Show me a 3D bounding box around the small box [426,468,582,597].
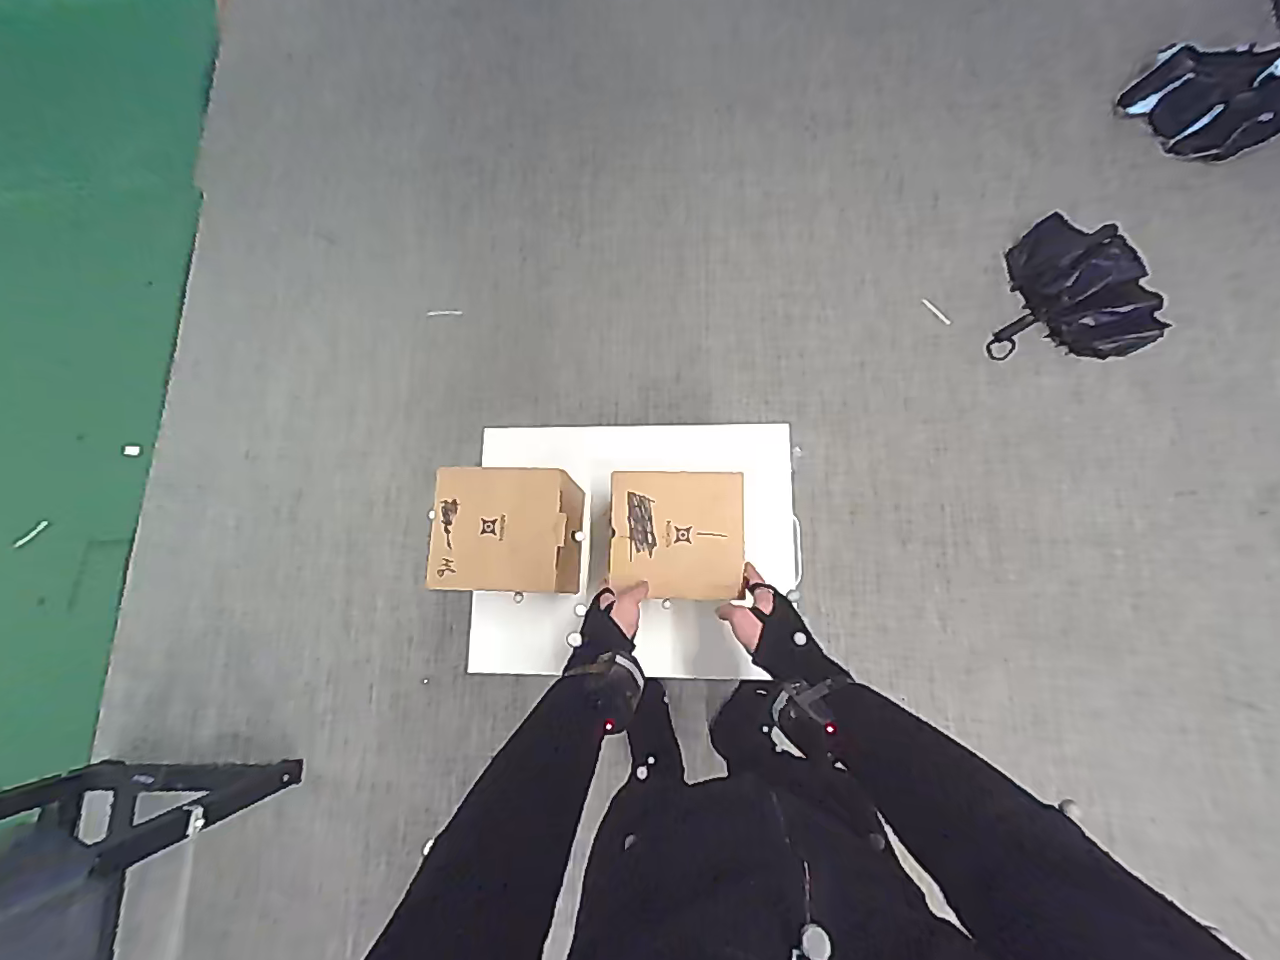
[{"bbox_3d":[-0.184,0.081,0.787,0.179,0.176,0.168,1,79,4],"label":"small box"}]
